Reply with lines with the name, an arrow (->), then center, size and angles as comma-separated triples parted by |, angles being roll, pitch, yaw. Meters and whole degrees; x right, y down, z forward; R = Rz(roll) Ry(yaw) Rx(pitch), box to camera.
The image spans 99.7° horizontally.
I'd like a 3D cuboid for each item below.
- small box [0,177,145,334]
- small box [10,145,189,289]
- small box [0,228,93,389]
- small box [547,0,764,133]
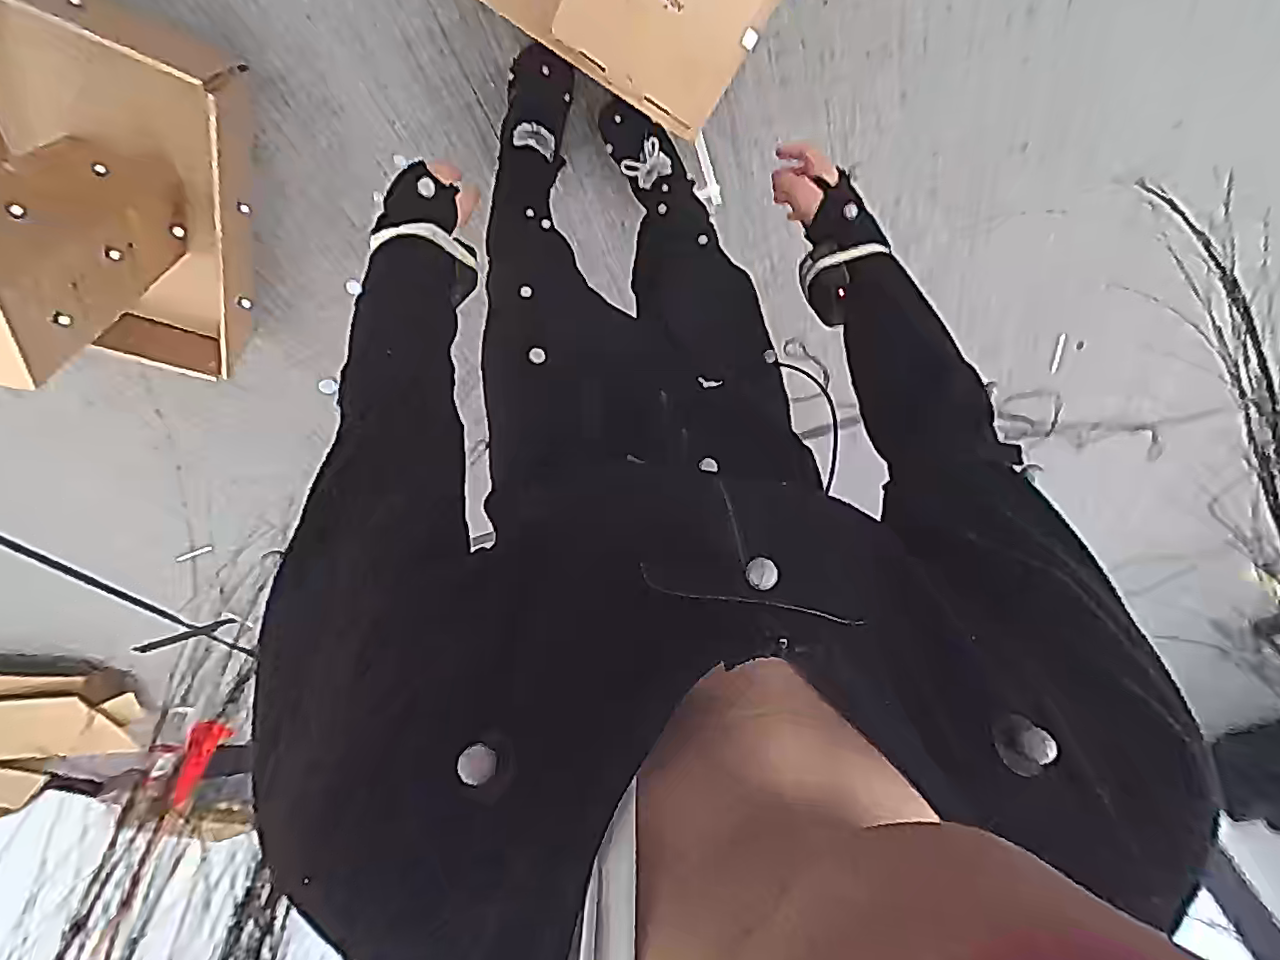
small box -> -0.980, -0.378, 0.906 | 0.179, 0.176, 0.168 | 12, 132, -19
small box -> -0.993, -0.497, 1.015 | 0.179, 0.176, 0.168 | 14, 132, -23
small box -> -0.958, -0.263, 0.789 | 0.179, 0.176, 0.168 | 11, 131, -20
small box -> 0.017, -0.503, 0.545 | 0.168, 0.176, 0.179 | 18, 131, -26
